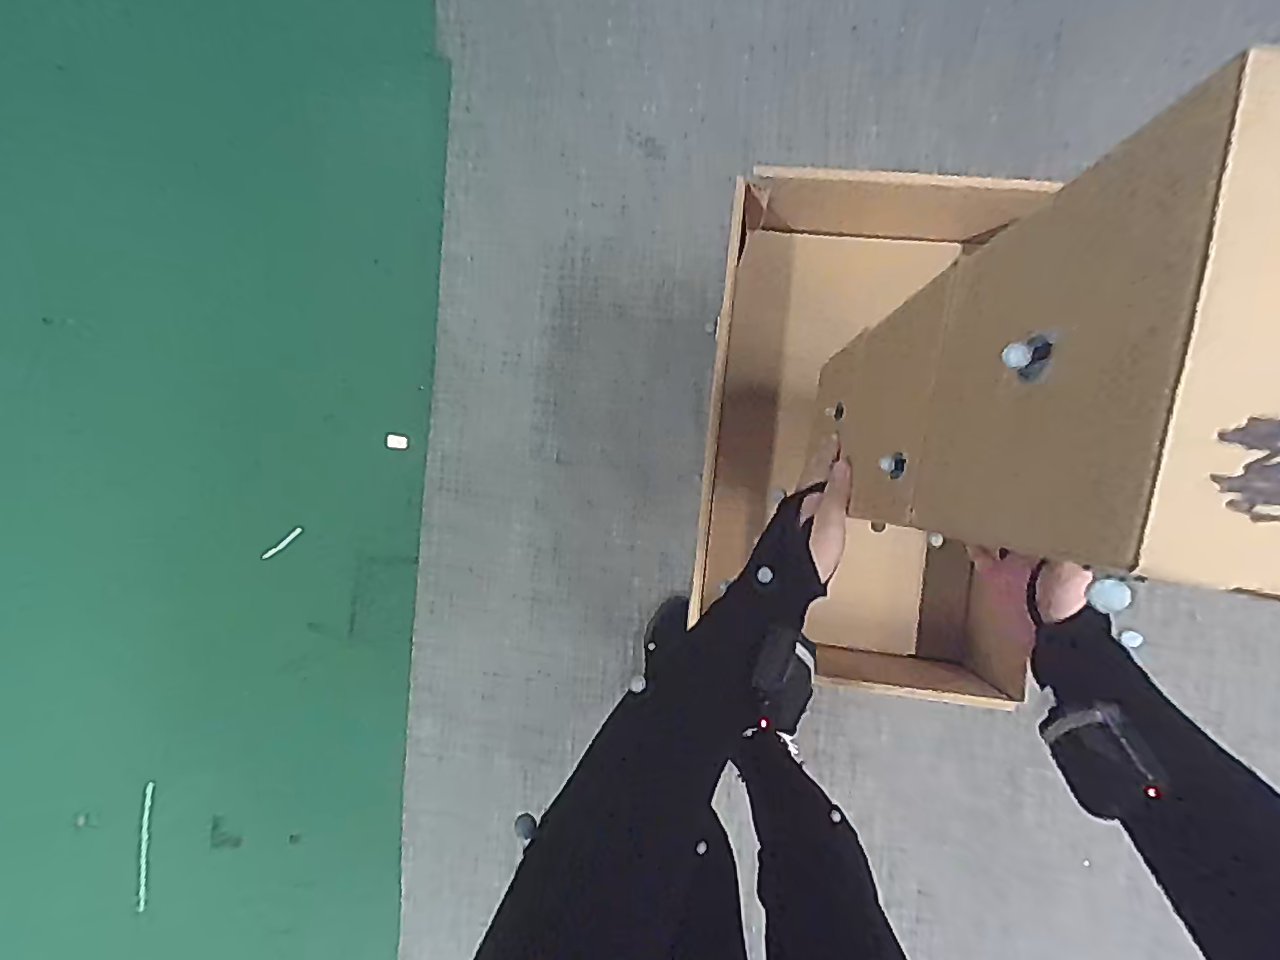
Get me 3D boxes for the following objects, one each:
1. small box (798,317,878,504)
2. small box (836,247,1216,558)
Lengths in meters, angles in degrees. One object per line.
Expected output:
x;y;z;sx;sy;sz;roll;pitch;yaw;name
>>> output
0.280;-0.054;0.583;0.168;0.176;0.179;11;91;5;small box
0.268;-0.051;0.421;0.168;0.176;0.179;10;92;4;small box
